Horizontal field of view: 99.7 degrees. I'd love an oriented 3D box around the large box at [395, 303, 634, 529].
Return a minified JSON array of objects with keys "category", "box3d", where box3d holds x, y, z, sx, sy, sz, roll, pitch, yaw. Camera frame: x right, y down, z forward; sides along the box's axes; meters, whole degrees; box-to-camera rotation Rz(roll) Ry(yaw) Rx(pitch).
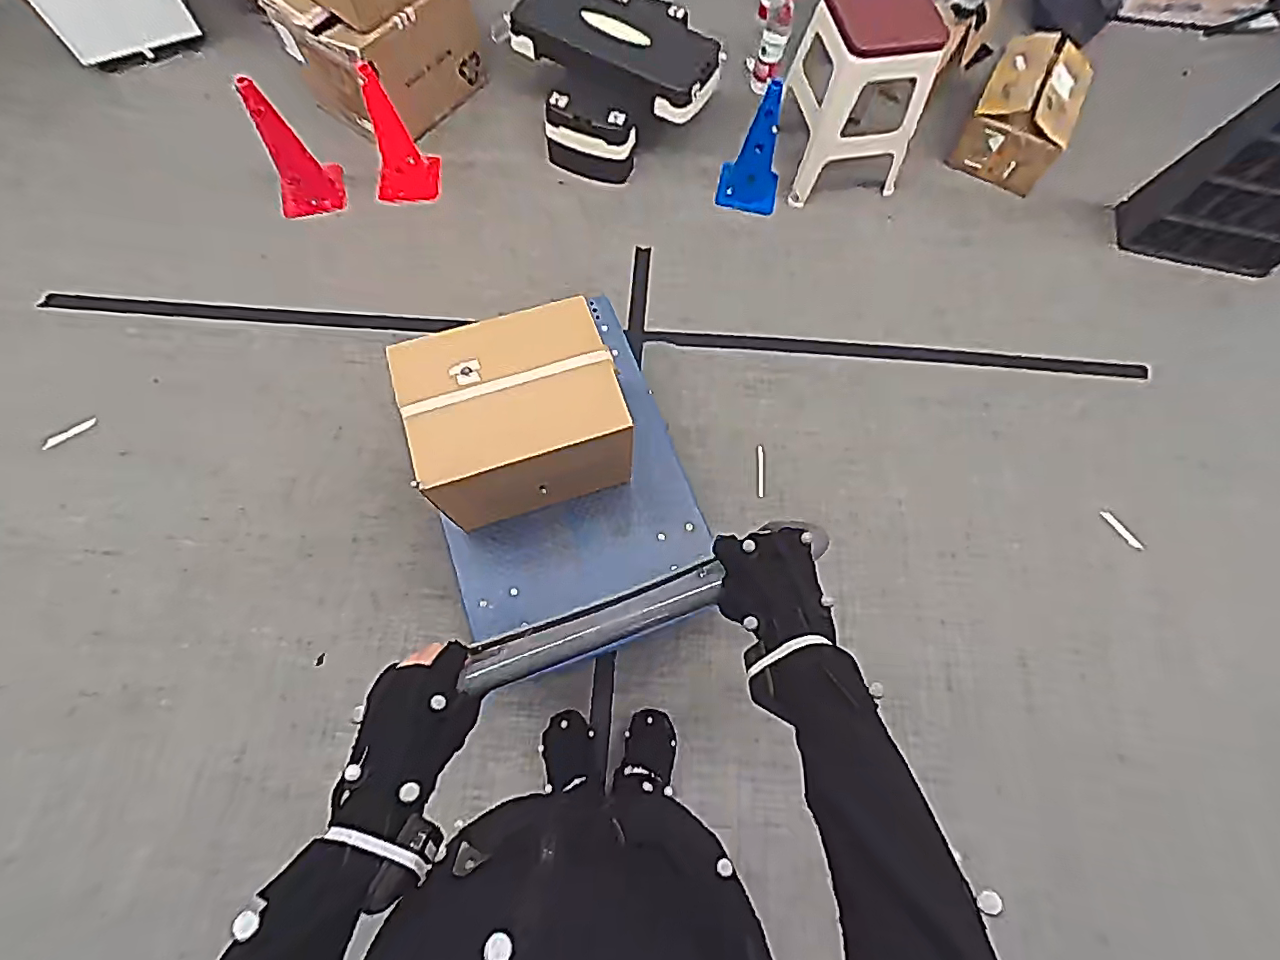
[{"category":"large box","box3d":[-0.251,-0.123,1.186,0.408,0.320,0.320,-18,72,-7]}]
